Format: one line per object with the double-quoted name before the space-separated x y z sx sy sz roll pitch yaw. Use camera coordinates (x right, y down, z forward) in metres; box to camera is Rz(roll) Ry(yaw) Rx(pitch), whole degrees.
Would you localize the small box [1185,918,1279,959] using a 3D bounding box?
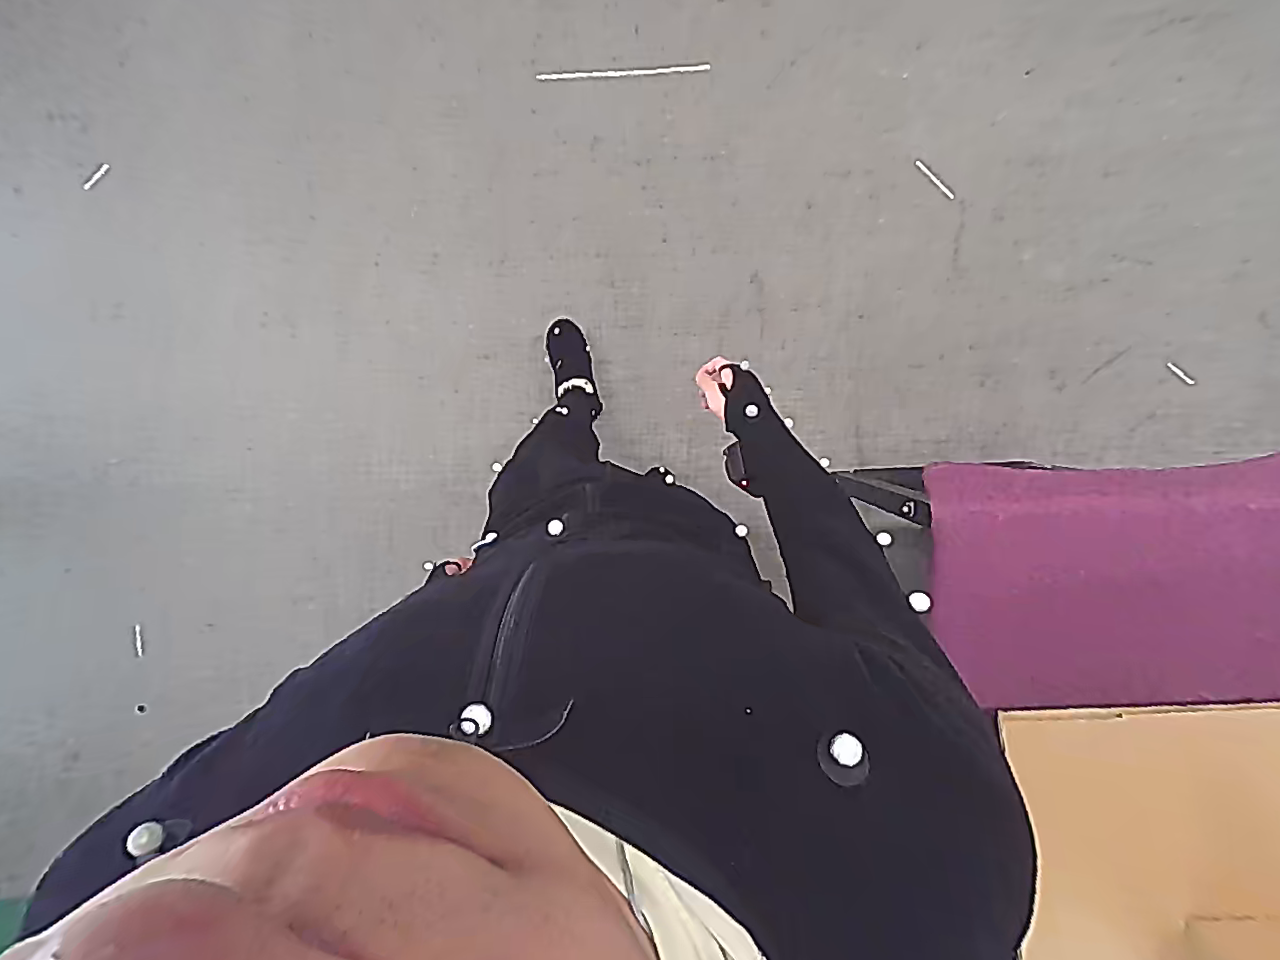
"small box" 0.838 0.686 0.668 0.179 0.176 0.168 -3 98 3
